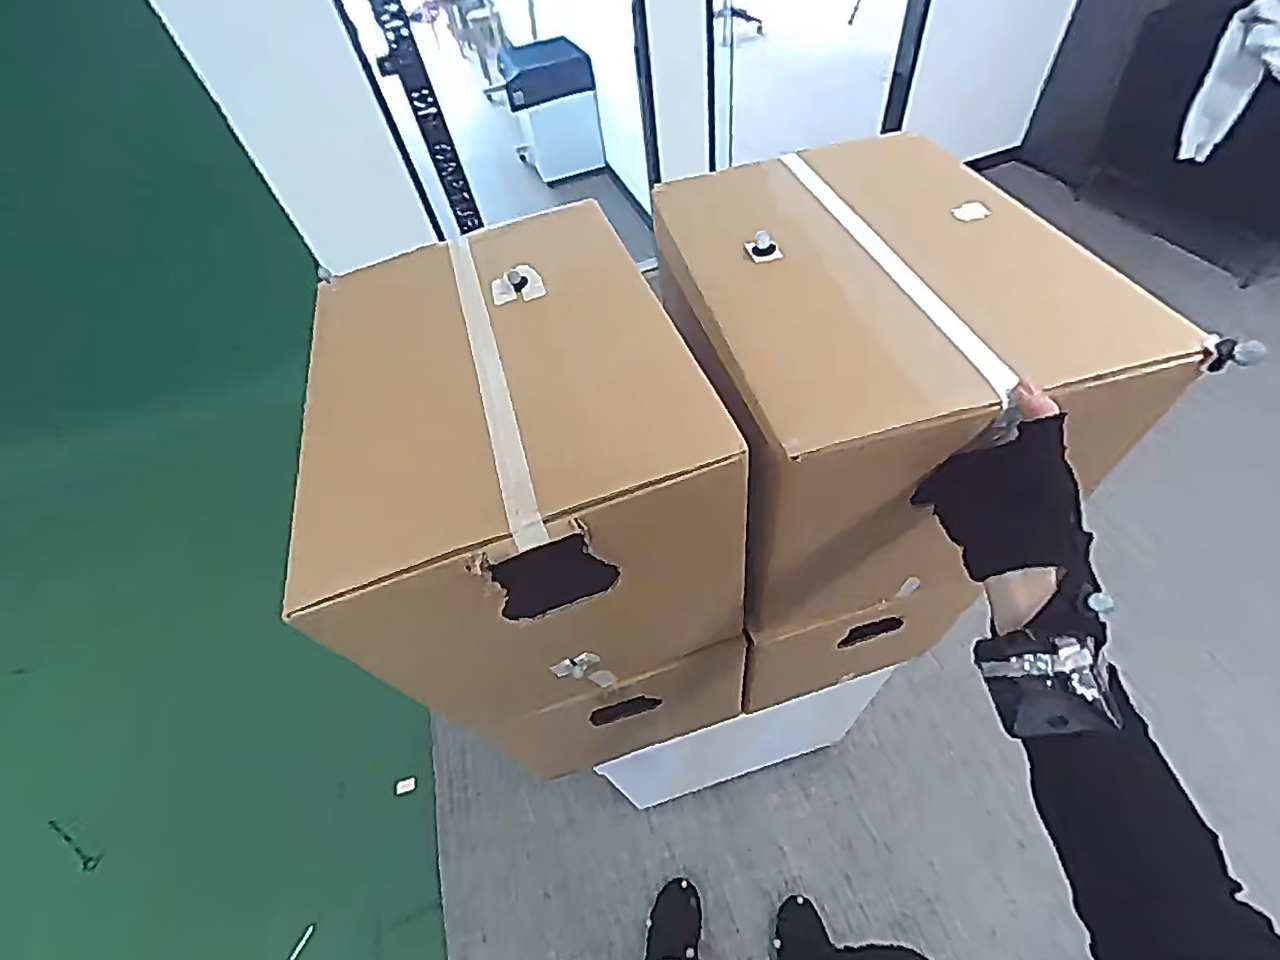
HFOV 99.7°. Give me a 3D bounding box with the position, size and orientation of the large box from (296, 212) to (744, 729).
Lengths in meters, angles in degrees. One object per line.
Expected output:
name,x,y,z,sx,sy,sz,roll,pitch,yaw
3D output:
large box,-0.112,-0.018,0.587,0.320,0.320,0.408,-19,51,-5
